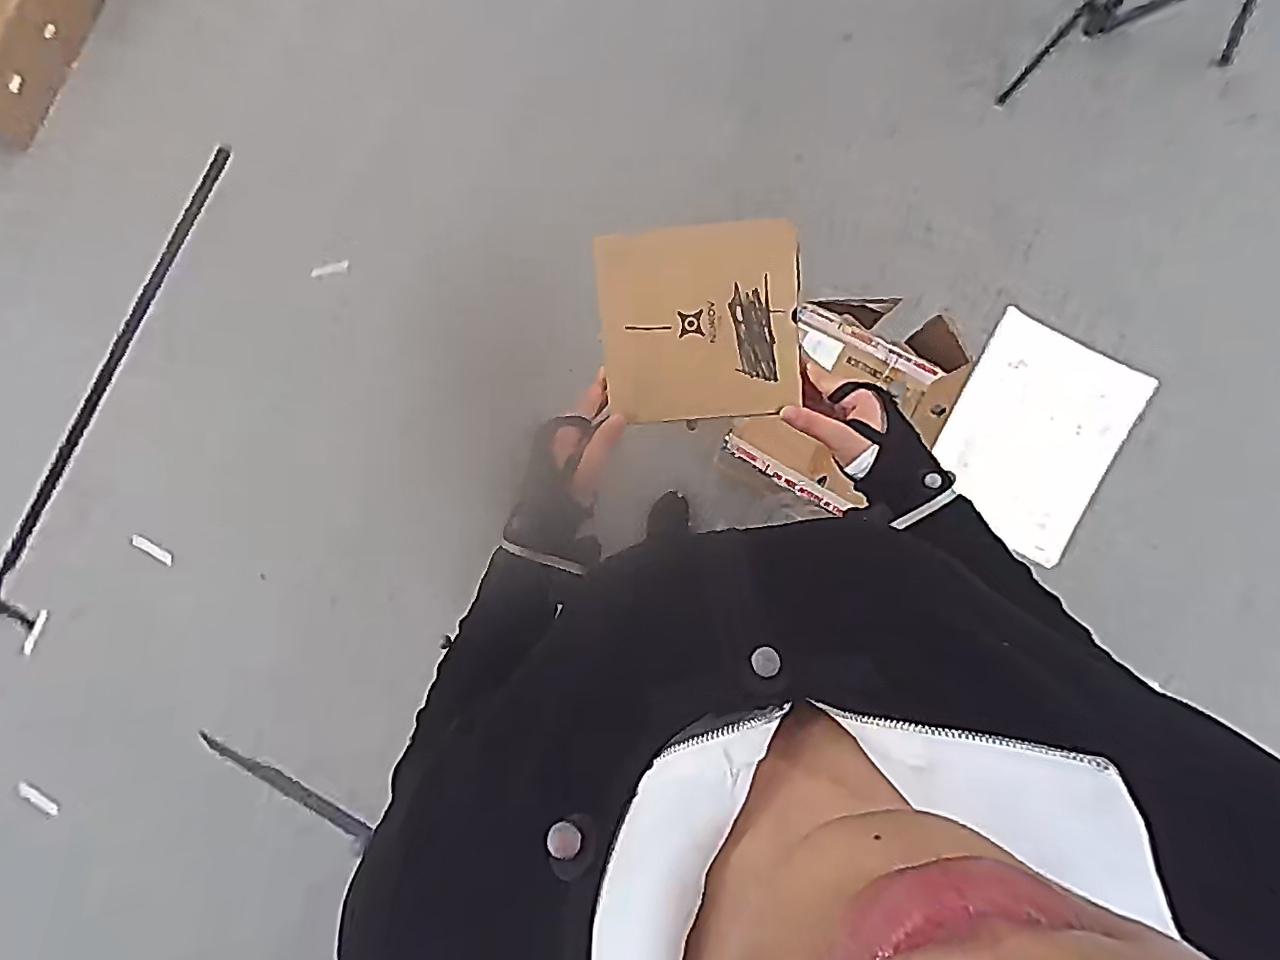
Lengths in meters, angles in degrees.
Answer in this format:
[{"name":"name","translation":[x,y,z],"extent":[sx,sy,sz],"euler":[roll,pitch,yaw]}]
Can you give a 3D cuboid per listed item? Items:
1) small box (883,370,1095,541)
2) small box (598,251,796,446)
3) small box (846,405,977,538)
[{"name":"small box","translation":[0.484,-0.030,0.783],"extent":[0.168,0.176,0.179],"euler":[27,89,4]},{"name":"small box","translation":[0.055,-0.132,0.570],"extent":[0.179,0.176,0.168],"euler":[-5,100,3]},{"name":"small box","translation":[0.493,-0.013,0.945],"extent":[0.179,0.176,0.168],"euler":[24,89,5]}]
